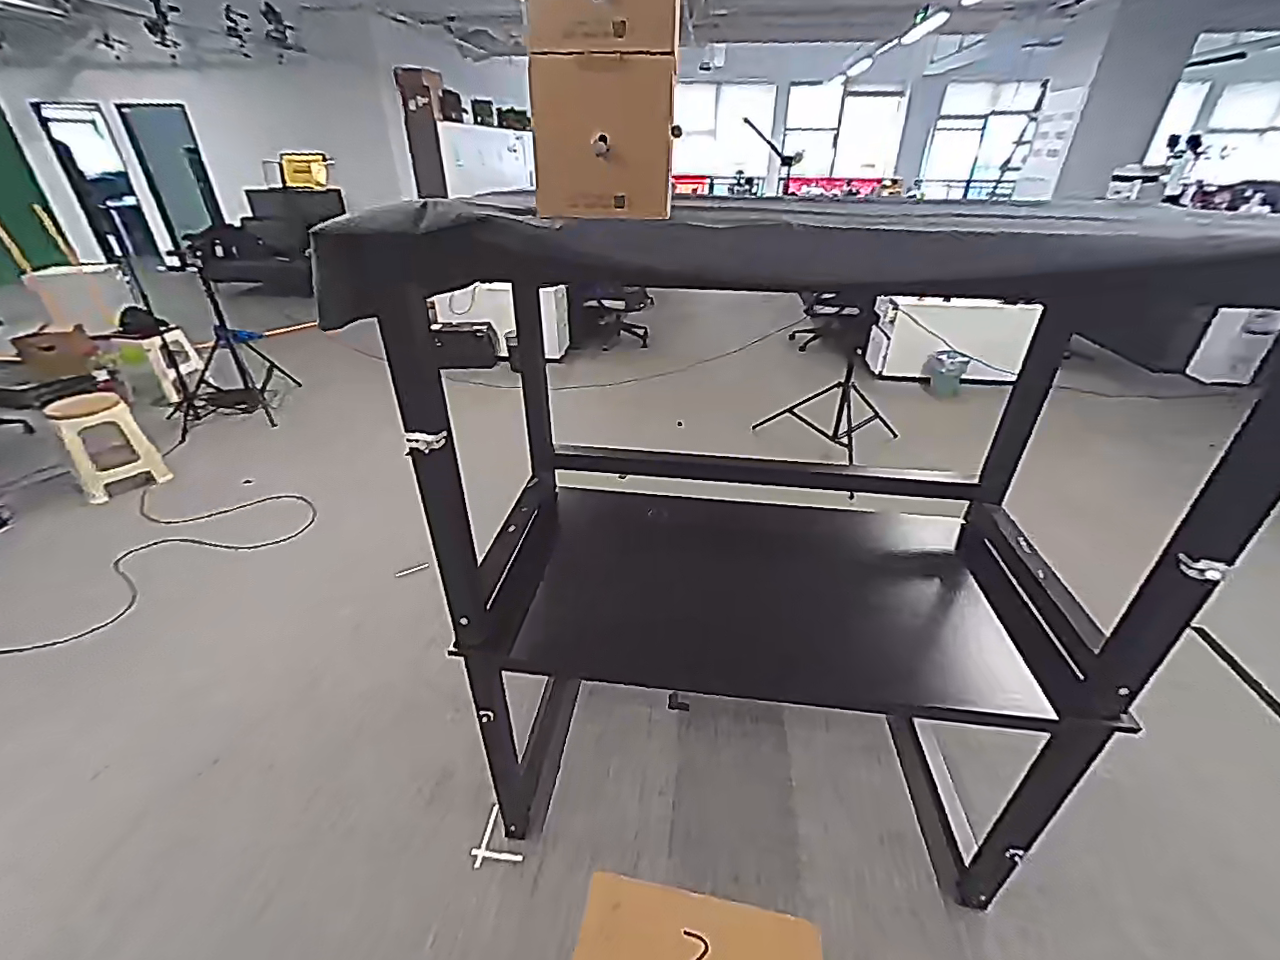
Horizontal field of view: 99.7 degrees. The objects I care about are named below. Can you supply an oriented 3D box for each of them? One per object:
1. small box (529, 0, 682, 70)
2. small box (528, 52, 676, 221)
[{"bbox_3d":[-0.034,-0.580,0.622,0.168,0.176,0.179,2,30,3],"label":"small box"},{"bbox_3d":[-0.038,-0.436,0.702,0.168,0.176,0.179,3,30,2],"label":"small box"}]
